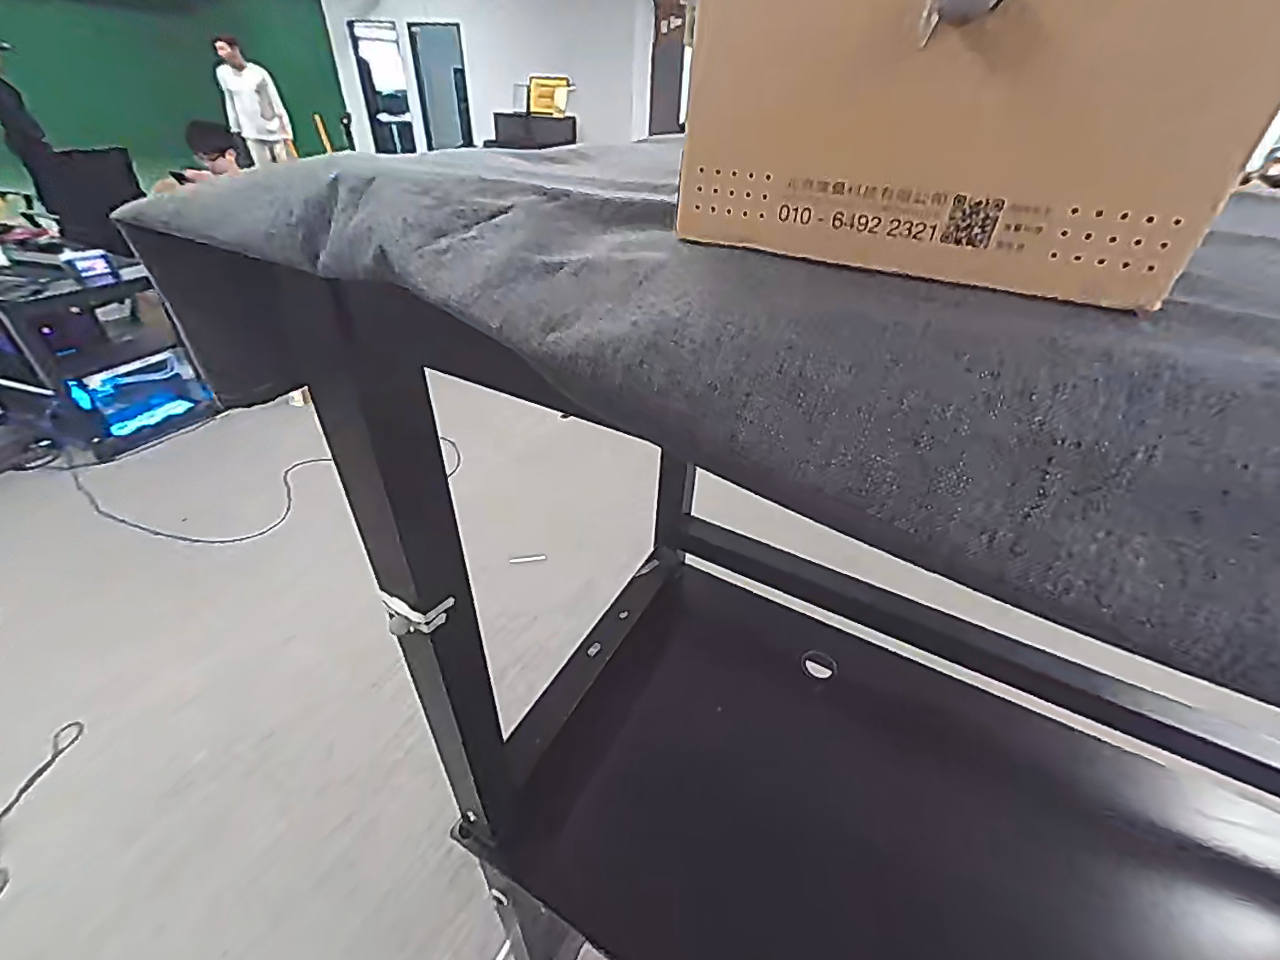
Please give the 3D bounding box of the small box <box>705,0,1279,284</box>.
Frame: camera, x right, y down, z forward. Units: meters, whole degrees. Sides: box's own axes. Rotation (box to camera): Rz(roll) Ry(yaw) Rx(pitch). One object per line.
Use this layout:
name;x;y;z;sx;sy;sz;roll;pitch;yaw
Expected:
small box;0.131;-0.187;0.208;0.168;0.176;0.179;18;38;18
